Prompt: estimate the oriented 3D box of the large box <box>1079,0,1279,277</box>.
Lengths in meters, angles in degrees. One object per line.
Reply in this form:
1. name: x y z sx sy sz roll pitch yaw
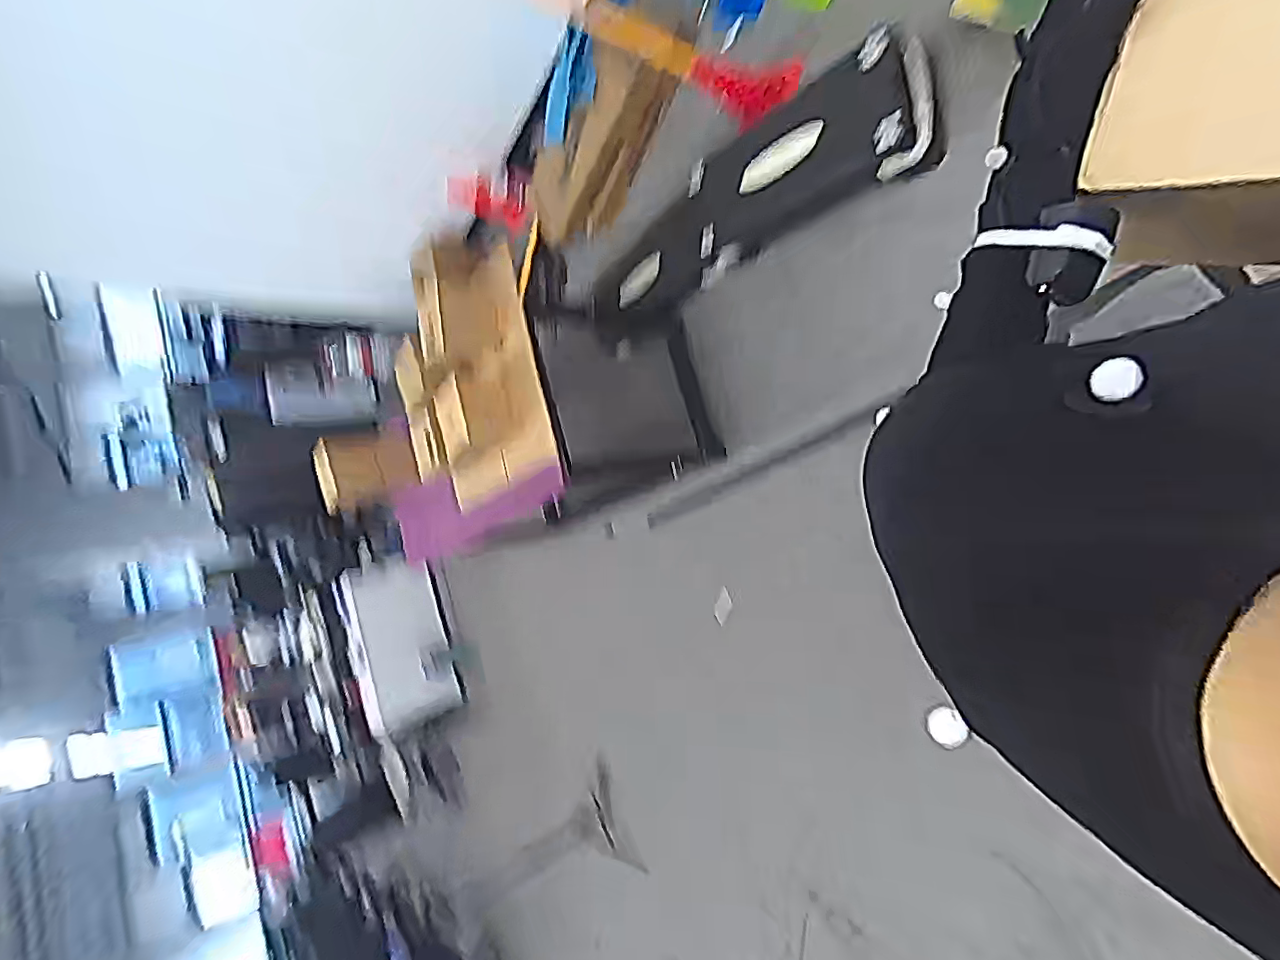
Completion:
1. large box: 0.598 -0.321 0.364 0.408 0.320 0.320 21 111 38
